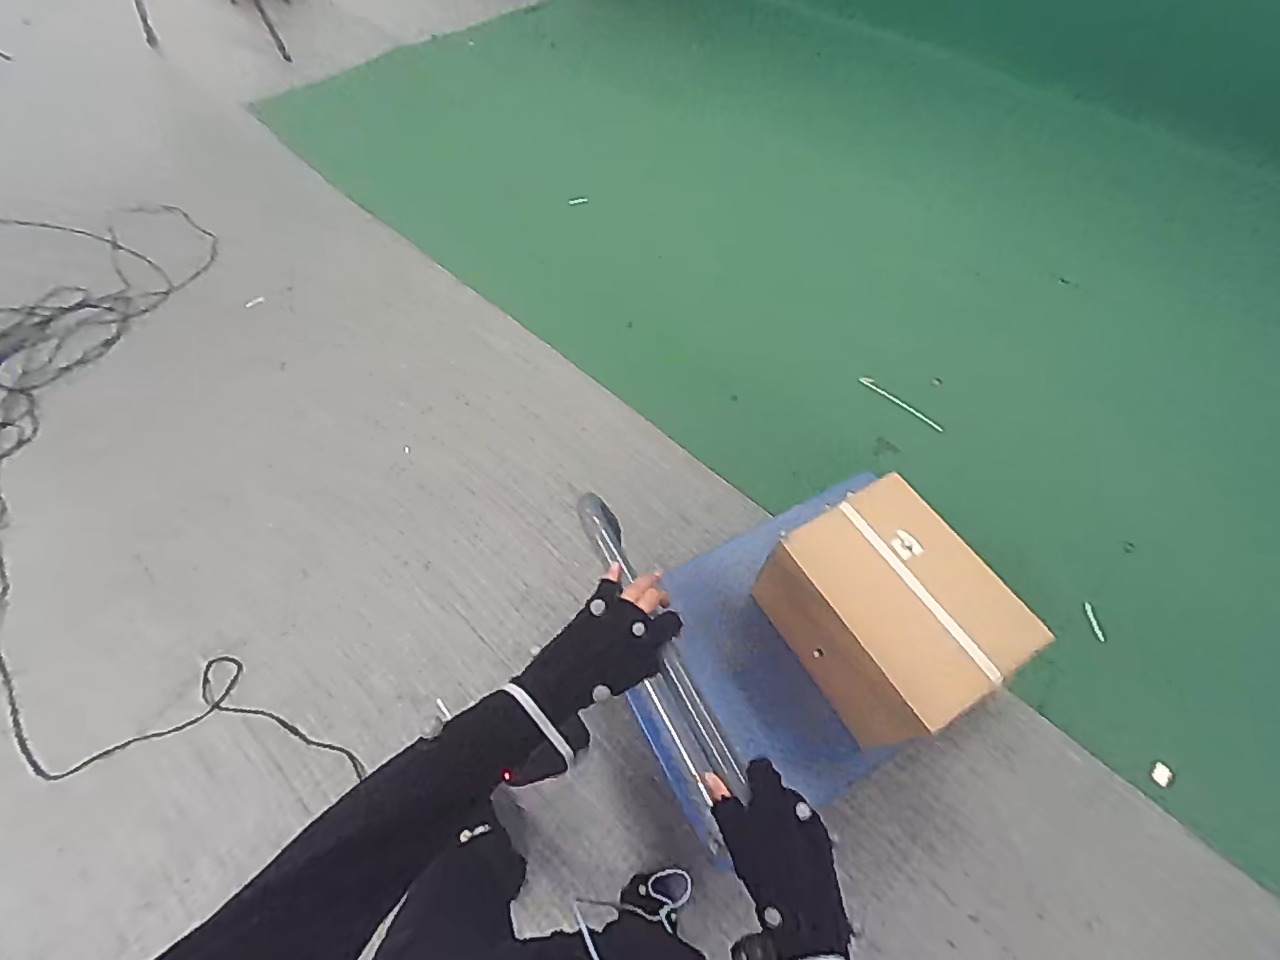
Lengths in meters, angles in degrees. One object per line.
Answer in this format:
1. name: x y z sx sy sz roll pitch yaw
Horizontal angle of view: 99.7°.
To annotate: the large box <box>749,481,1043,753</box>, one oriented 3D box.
1. large box: 0.488 0.288 1.132 0.320 0.320 0.408 -26 62 -16
